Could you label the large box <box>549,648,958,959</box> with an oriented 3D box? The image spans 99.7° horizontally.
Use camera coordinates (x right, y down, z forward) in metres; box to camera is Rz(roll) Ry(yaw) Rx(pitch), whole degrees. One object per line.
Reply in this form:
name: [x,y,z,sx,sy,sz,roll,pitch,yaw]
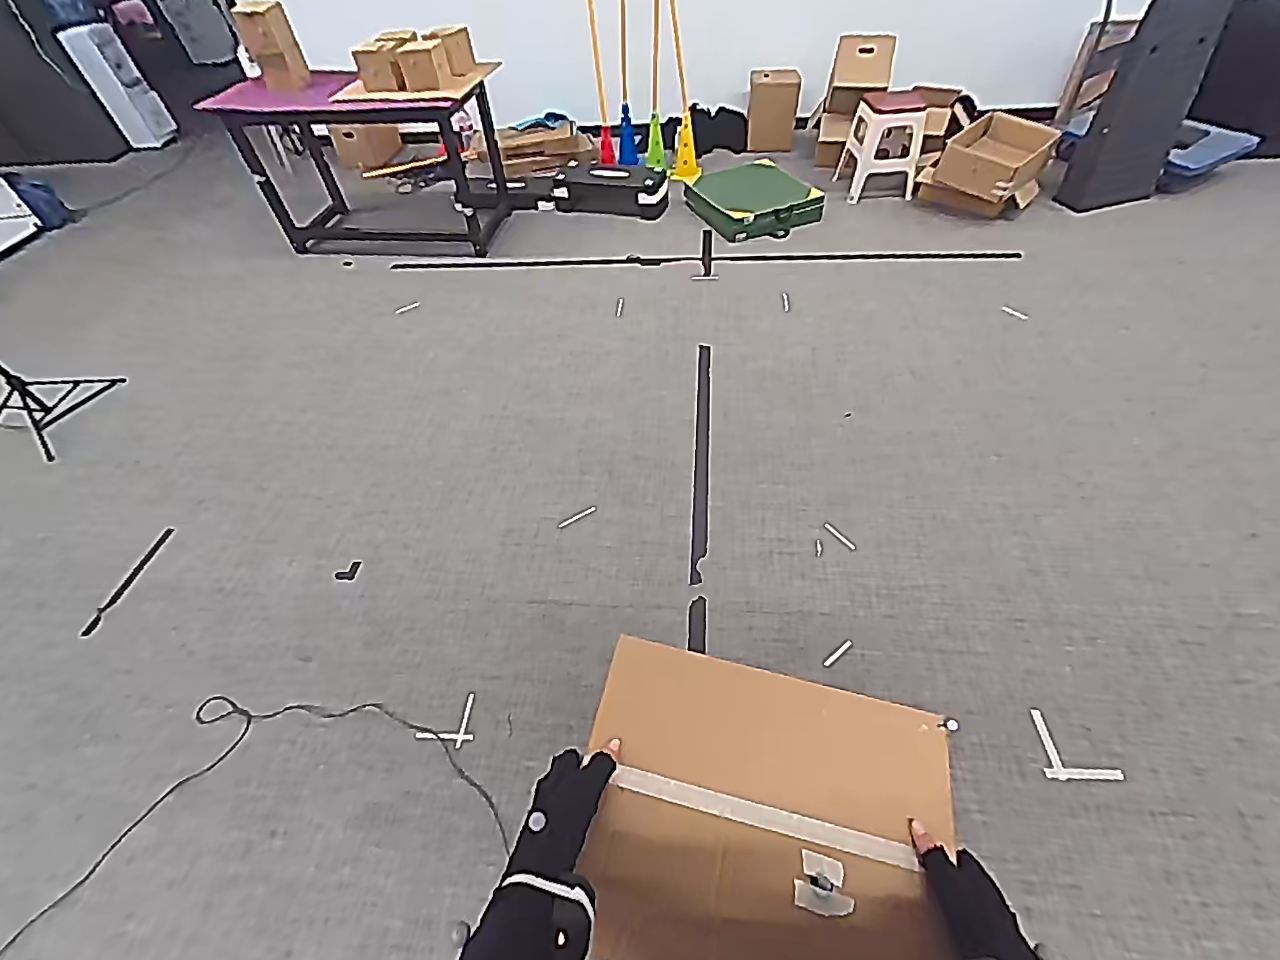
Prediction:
large box: [0.131,0.461,0.710,0.408,0.320,0.320,12,55,8]
